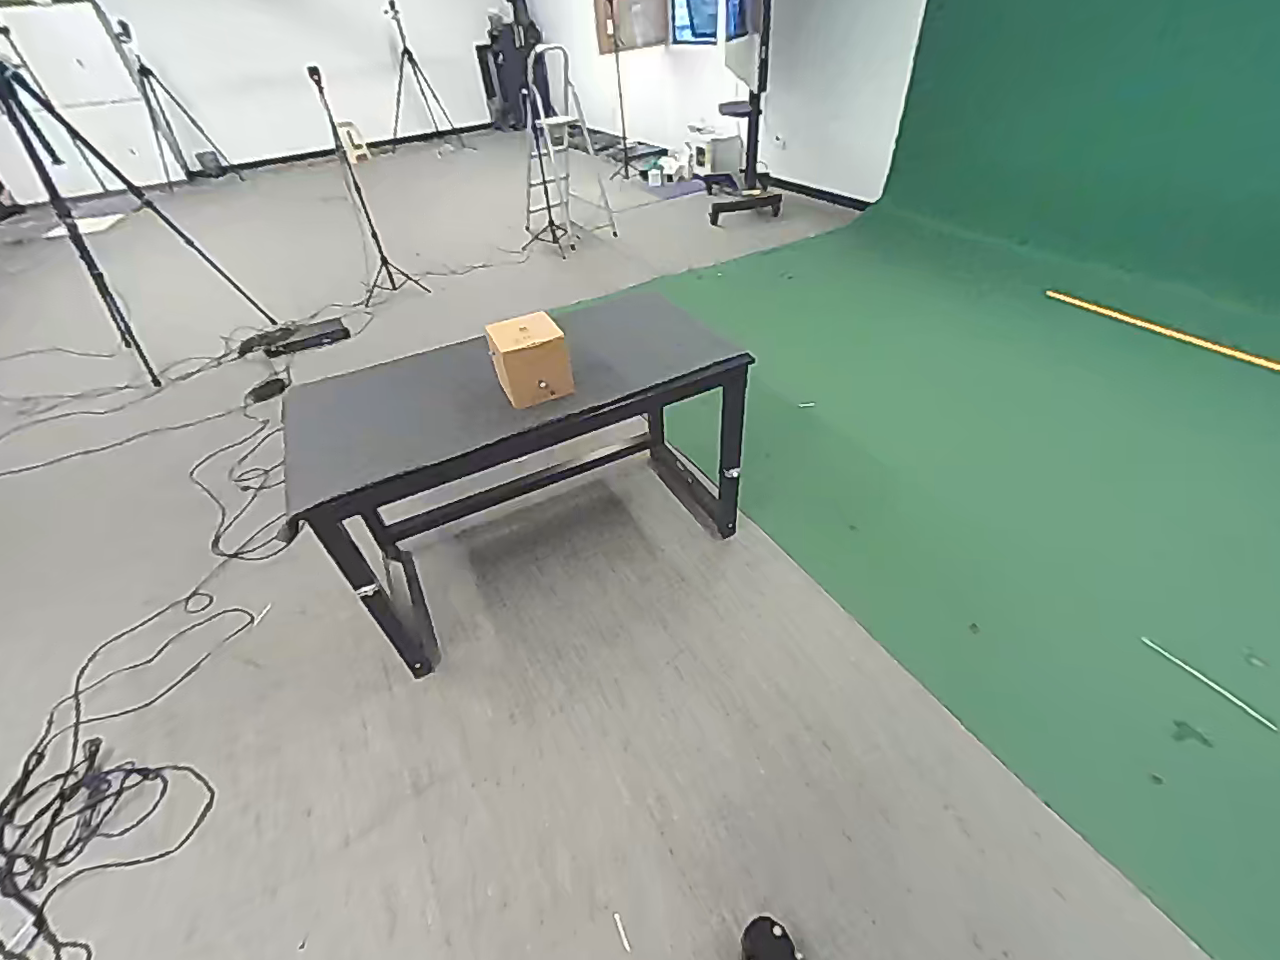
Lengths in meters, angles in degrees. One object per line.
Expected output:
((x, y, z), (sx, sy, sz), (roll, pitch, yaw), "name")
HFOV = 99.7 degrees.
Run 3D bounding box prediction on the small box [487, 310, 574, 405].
((-0.286, -0.322, 1.422), (0.168, 0.176, 0.179), (-21, 44, -16), "small box")
